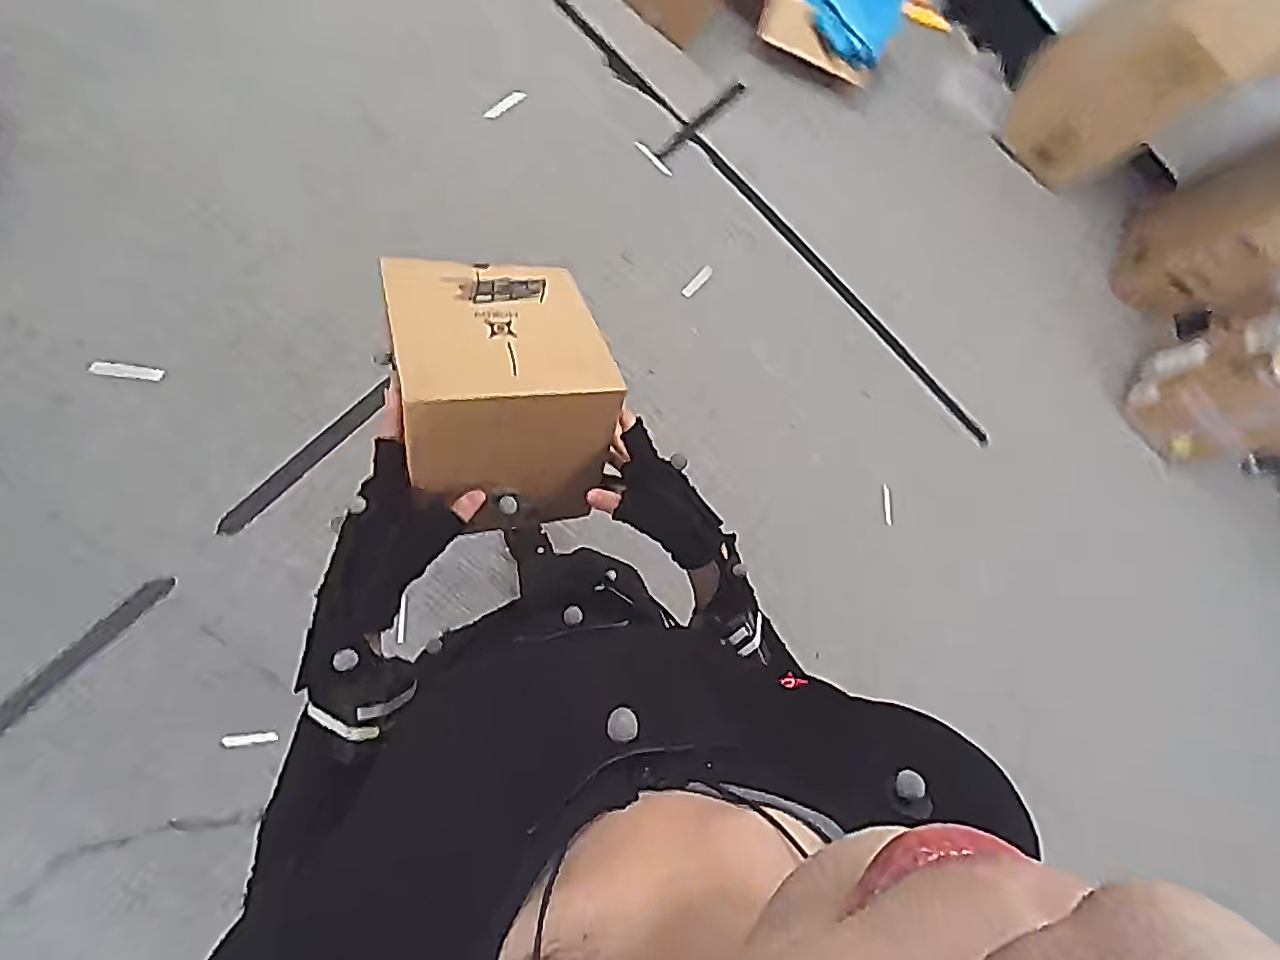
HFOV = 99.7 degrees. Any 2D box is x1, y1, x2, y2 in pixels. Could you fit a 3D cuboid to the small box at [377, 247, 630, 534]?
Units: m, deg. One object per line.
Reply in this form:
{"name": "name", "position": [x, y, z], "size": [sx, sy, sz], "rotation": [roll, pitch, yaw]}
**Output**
{"name": "small box", "position": [-0.130, -0.078, 0.476], "size": [0.168, 0.176, 0.179], "rotation": [-8, 53, -25]}

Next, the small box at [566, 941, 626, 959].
{"name": "small box", "position": [-0.102, 1.212, 1.236], "size": [0.179, 0.176, 0.168], "rotation": [33, 72, -11]}
